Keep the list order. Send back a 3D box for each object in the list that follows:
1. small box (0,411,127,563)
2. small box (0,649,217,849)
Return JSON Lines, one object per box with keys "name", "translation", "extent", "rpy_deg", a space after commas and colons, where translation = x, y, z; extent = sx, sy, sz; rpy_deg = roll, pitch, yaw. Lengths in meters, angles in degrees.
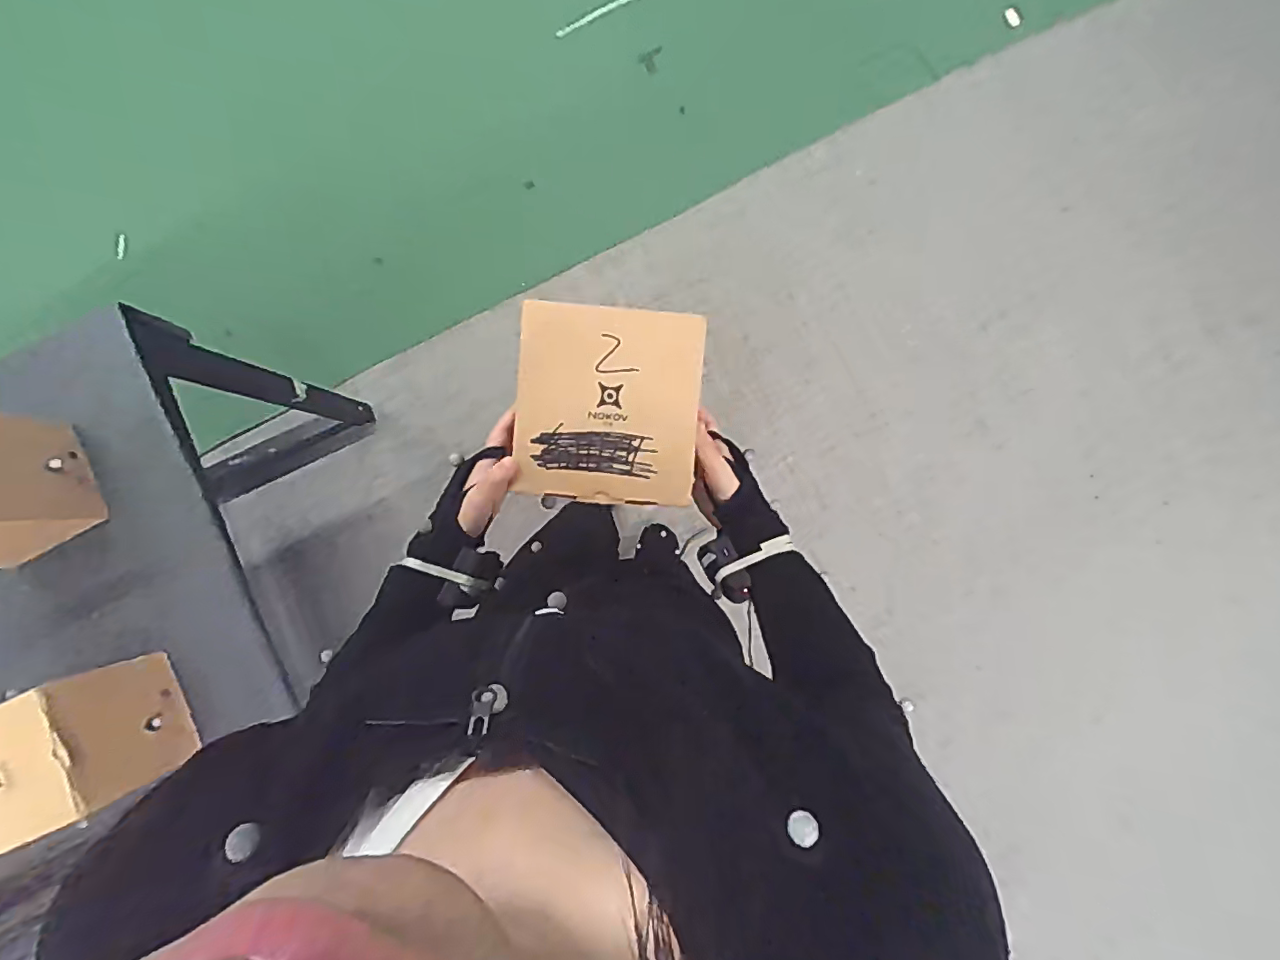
{"name": "small box", "translation": [-0.911, 0.017, 0.773], "extent": [0.179, 0.176, 0.168], "rpy_deg": [-27, 87, 3]}
{"name": "small box", "translation": [-0.750, 0.358, 0.748], "extent": [0.179, 0.176, 0.168], "rpy_deg": [-25, 85, 3]}
